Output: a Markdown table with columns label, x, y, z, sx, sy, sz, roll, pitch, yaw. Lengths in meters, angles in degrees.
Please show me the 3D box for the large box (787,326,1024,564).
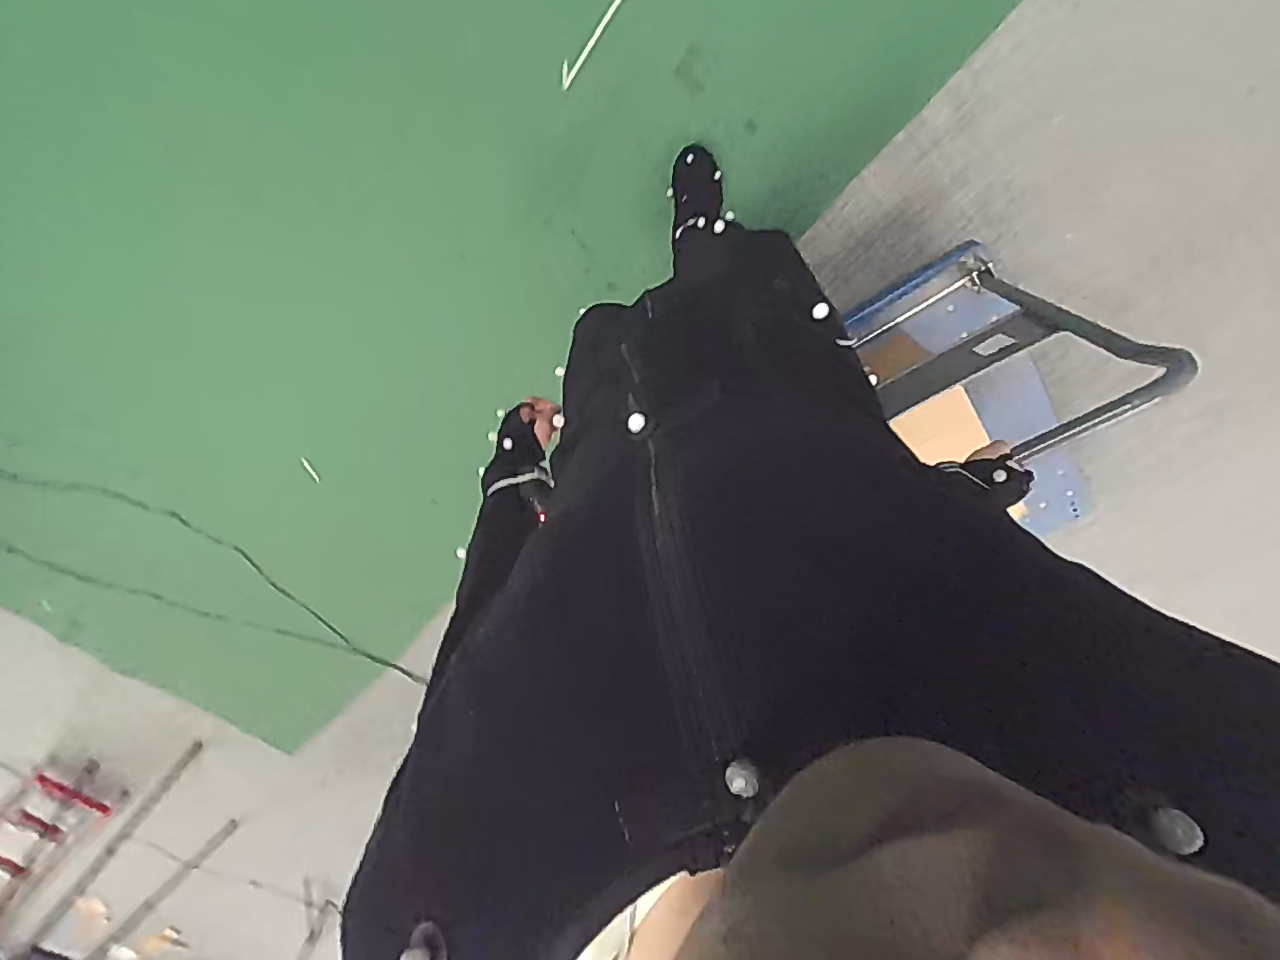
| label | x | y | z | sx | sy | sz | roll | pitch | yaw |
| --- | --- | --- | --- | --- | --- | --- | --- | --- | --- |
| large box | 0.608 | -0.087 | 1.293 | 0.320 | 0.320 | 0.408 | -32 | 113 | 22 |
